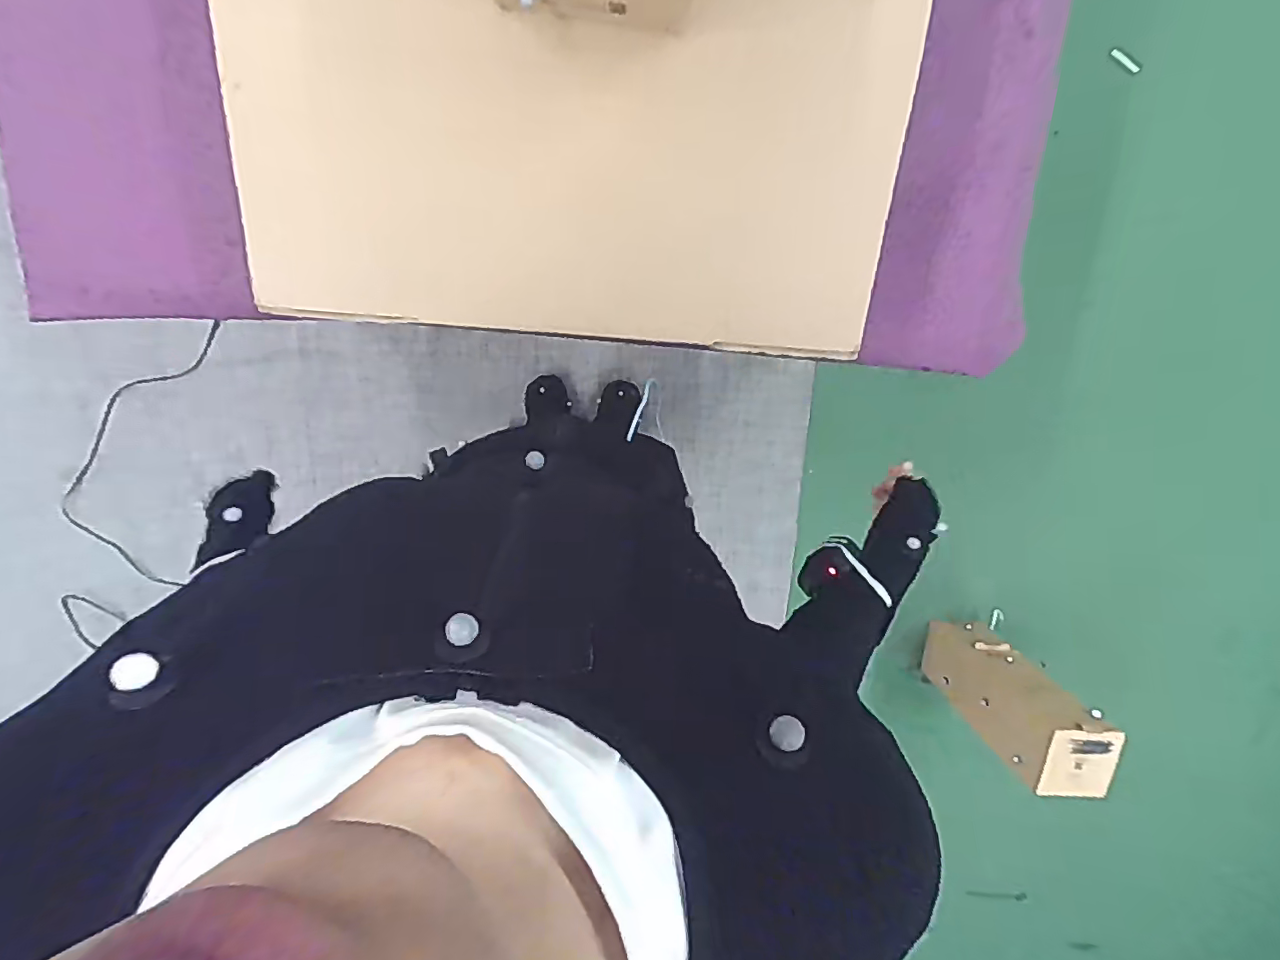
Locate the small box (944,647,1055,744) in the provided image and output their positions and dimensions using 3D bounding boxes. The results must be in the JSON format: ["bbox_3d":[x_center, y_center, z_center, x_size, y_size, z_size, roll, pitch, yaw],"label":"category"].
[{"bbox_3d":[0.954,0.575,1.452,0.168,0.176,0.179,4,103,-4],"label":"small box"}]

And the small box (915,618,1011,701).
[{"bbox_3d":[0.951,0.535,1.610,0.168,0.176,0.179,3,104,-5],"label":"small box"}]
